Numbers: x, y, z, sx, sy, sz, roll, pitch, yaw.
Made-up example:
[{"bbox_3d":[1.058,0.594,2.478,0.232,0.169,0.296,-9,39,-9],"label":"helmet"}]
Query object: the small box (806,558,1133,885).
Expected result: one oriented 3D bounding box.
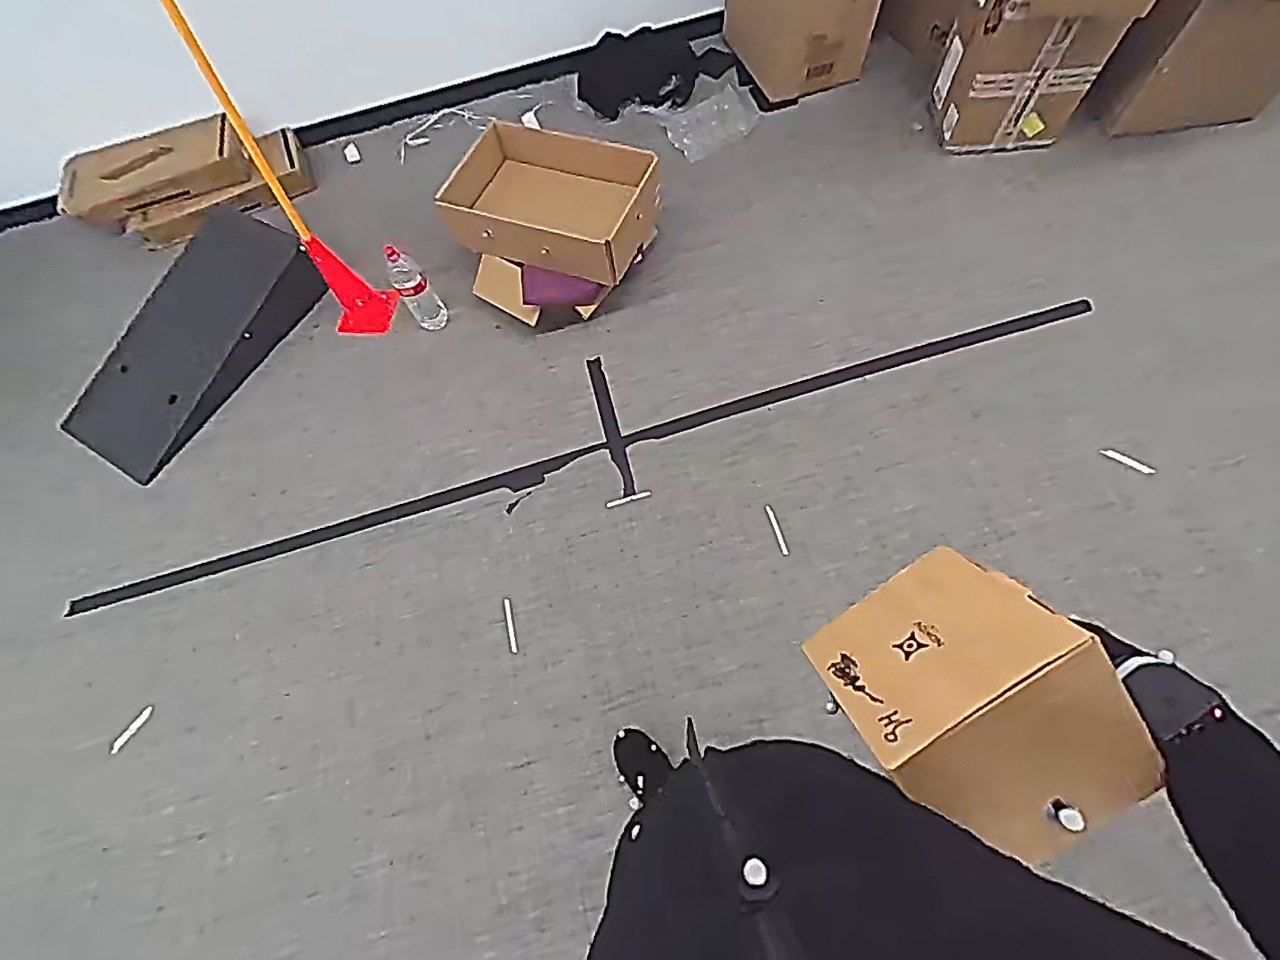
[{"bbox_3d":[0.293,0.210,0.495,0.179,0.168,0.176,-37,105,5],"label":"small box"}]
